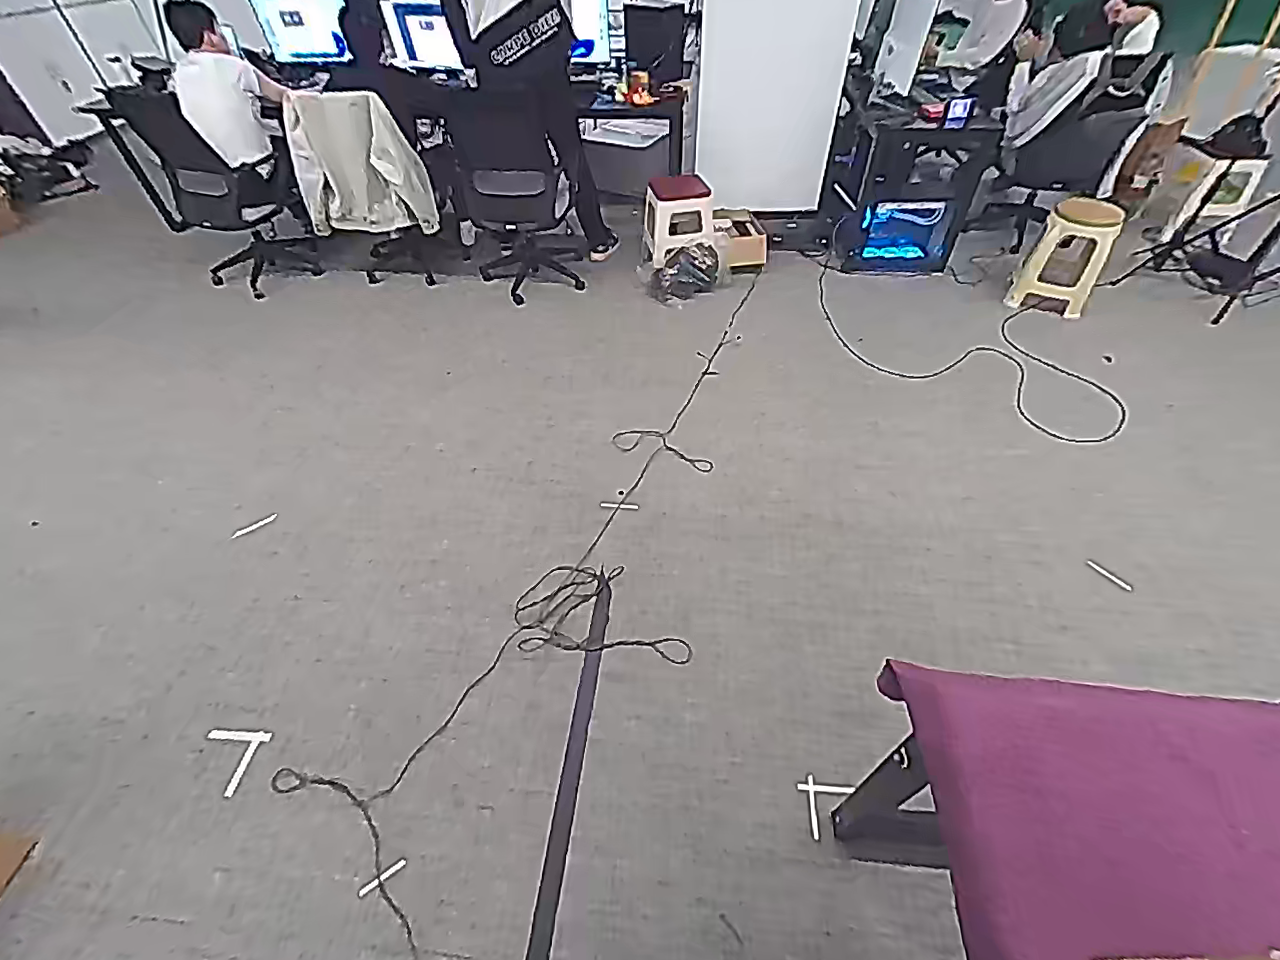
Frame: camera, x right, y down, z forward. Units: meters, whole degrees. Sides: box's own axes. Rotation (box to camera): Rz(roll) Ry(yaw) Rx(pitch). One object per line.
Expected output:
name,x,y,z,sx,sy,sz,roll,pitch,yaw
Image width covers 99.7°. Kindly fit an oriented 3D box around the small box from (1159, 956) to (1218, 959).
small box,0.549,0.531,0.459,0.179,0.176,0.168,5,47,5
